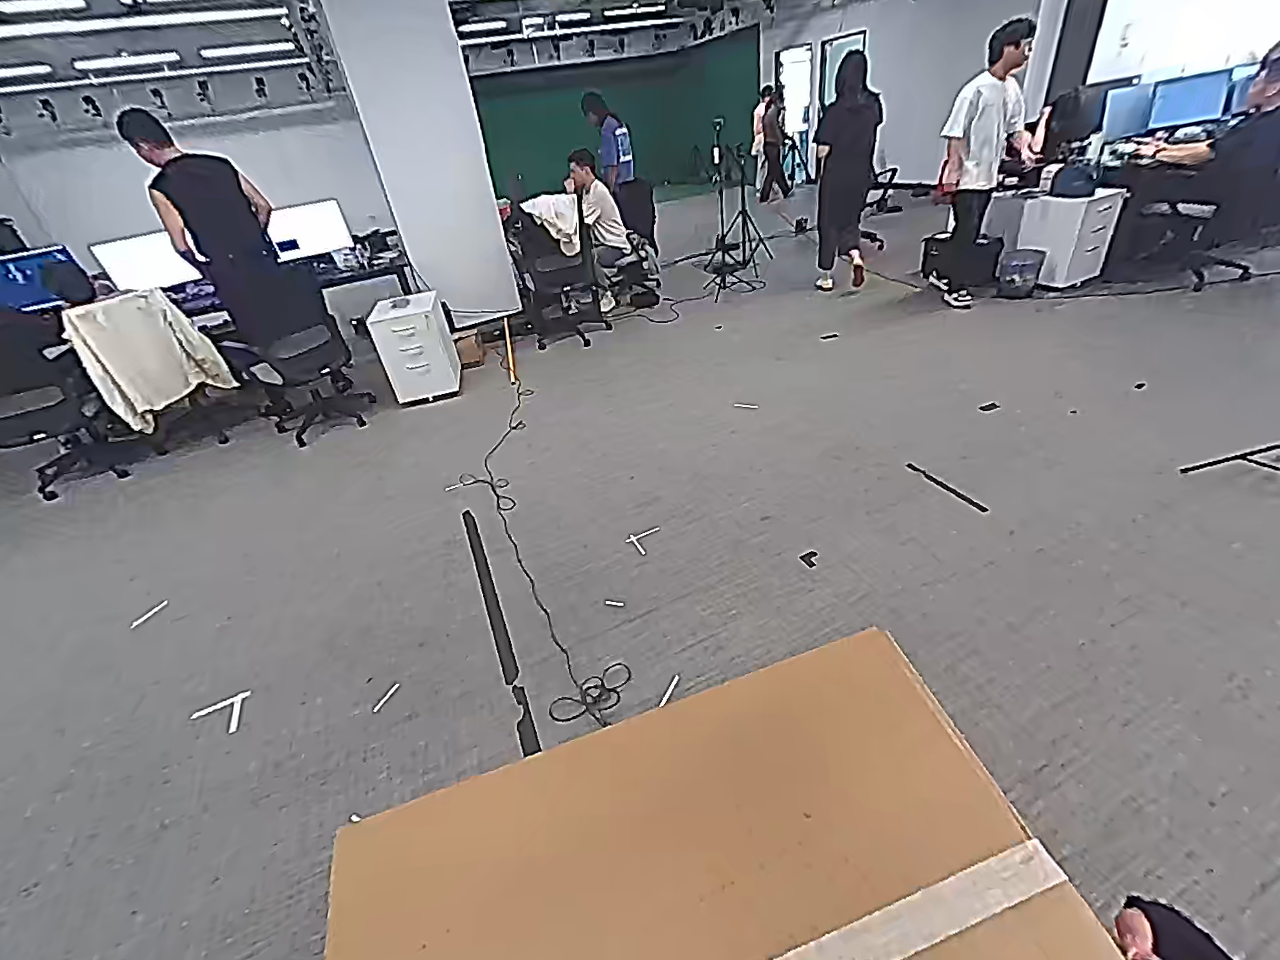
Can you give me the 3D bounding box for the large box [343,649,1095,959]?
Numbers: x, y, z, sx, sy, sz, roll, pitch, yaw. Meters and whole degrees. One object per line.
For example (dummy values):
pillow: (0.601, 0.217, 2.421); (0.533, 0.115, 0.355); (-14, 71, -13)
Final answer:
large box: (0.060, 0.389, 0.387); (0.408, 0.320, 0.320); (-18, 45, -7)
